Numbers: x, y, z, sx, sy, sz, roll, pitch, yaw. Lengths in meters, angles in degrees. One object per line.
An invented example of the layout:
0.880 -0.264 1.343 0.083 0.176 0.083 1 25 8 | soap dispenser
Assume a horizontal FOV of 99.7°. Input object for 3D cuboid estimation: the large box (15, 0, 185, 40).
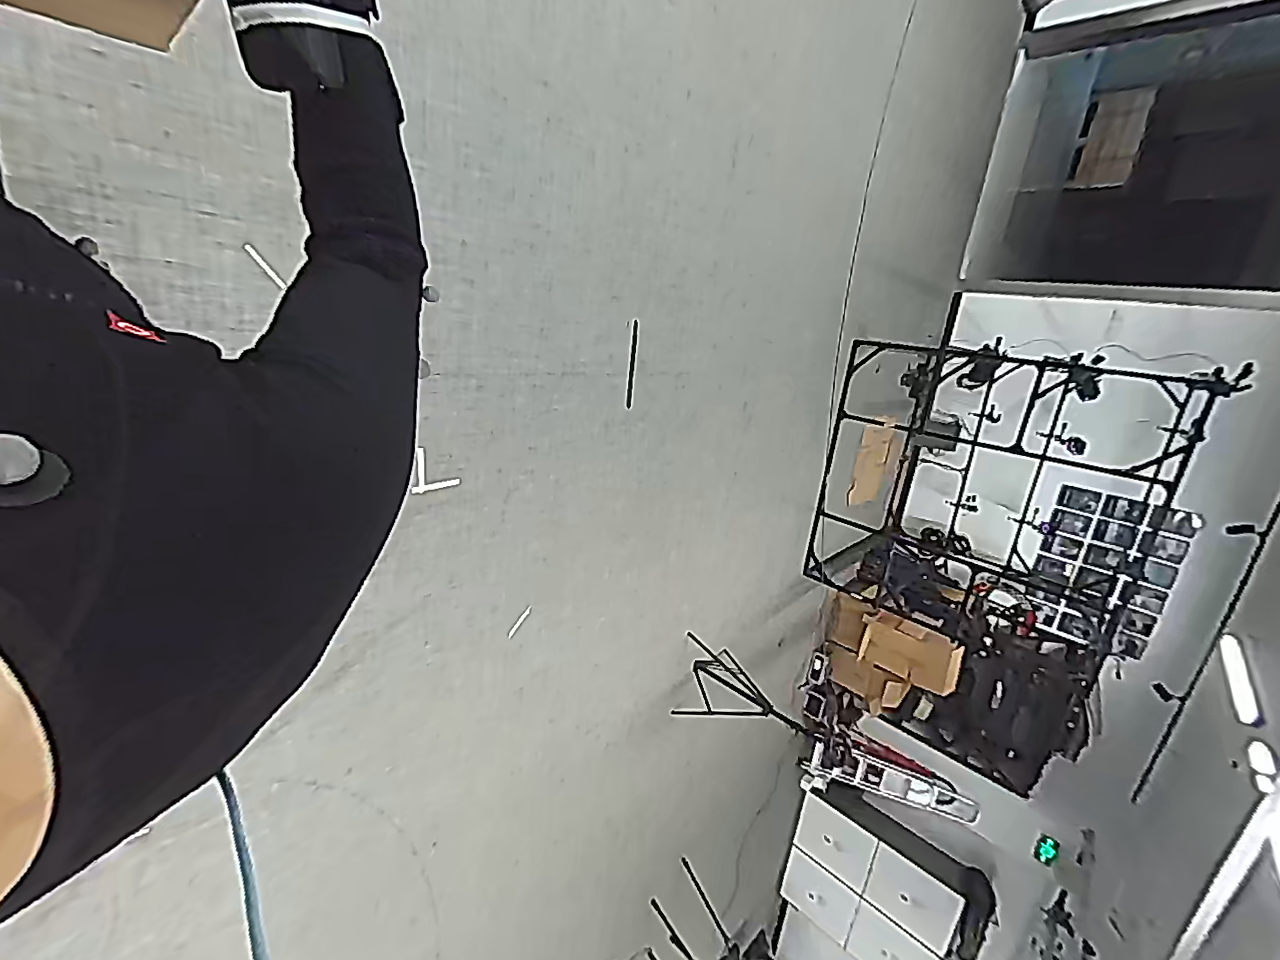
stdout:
-0.461 -0.471 0.221 0.408 0.320 0.320 -14 117 -45 | large box
